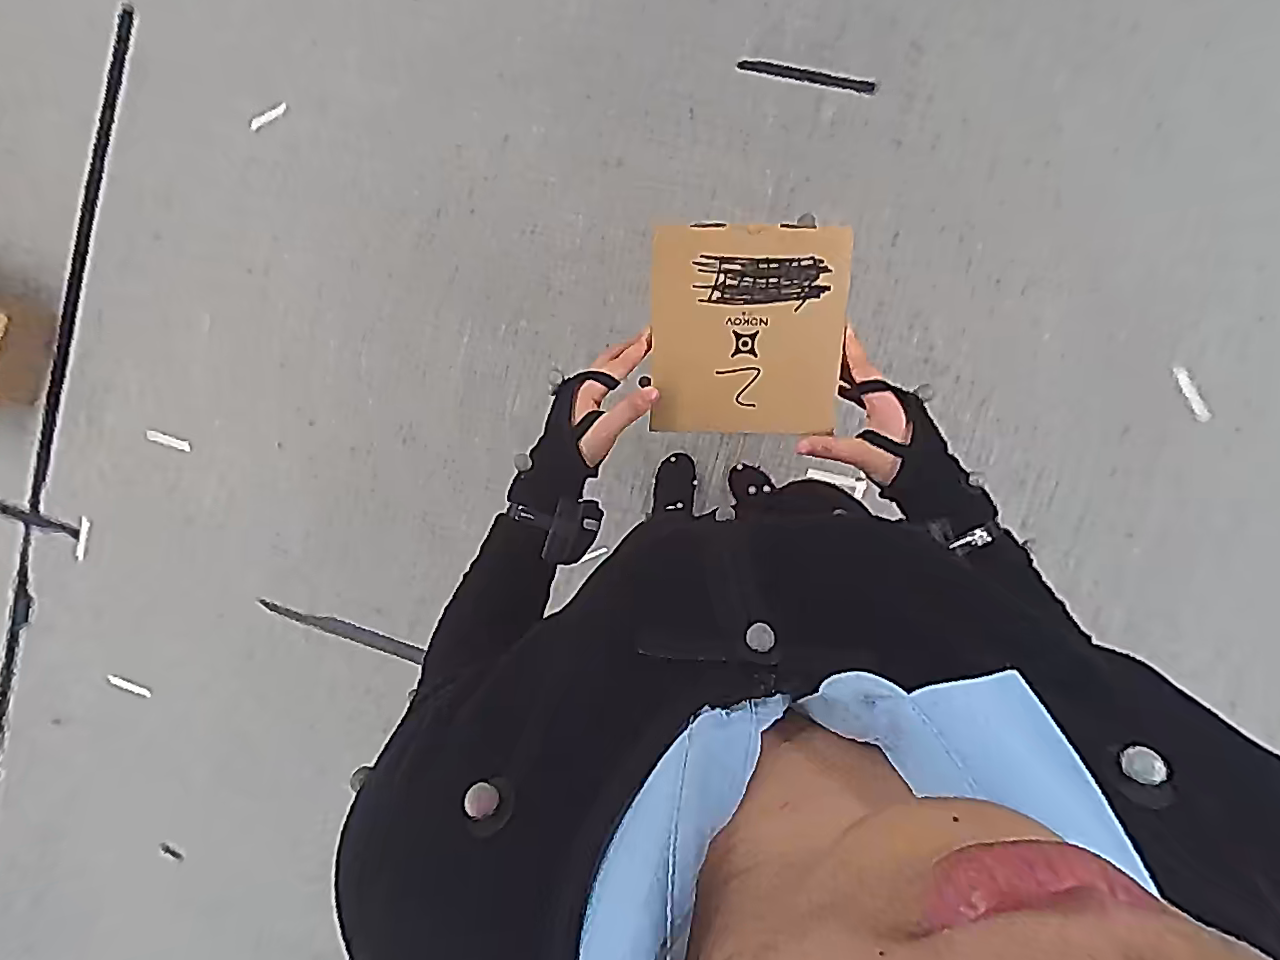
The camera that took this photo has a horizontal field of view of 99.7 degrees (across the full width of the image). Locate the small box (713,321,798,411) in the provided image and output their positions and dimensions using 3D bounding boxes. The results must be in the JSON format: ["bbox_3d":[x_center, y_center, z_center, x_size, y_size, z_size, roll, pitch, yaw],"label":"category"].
[{"bbox_3d":[0.286,-0.284,1.381,0.168,0.176,0.179,15,95,5],"label":"small box"}]
